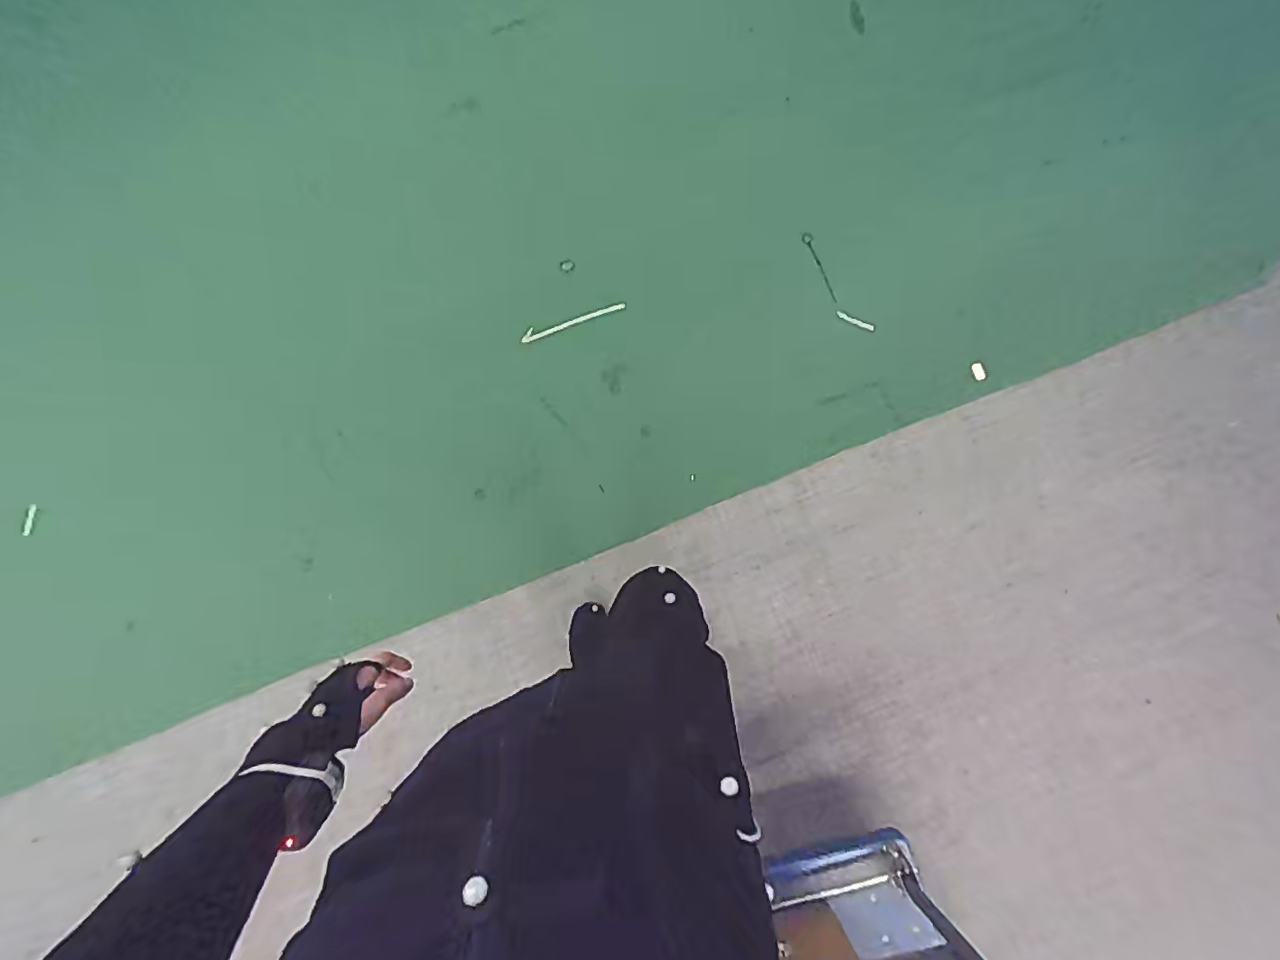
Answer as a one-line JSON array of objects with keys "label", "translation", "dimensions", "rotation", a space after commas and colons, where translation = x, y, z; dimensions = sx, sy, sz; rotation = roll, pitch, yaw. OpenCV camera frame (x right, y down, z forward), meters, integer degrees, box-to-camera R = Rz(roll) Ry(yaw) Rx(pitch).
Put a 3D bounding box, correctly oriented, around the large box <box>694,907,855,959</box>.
[{"label": "large box", "translation": [0.311, 1.117, 0.980], "dimensions": [0.320, 0.320, 0.408], "rotation": [-15, 81, -2]}]
